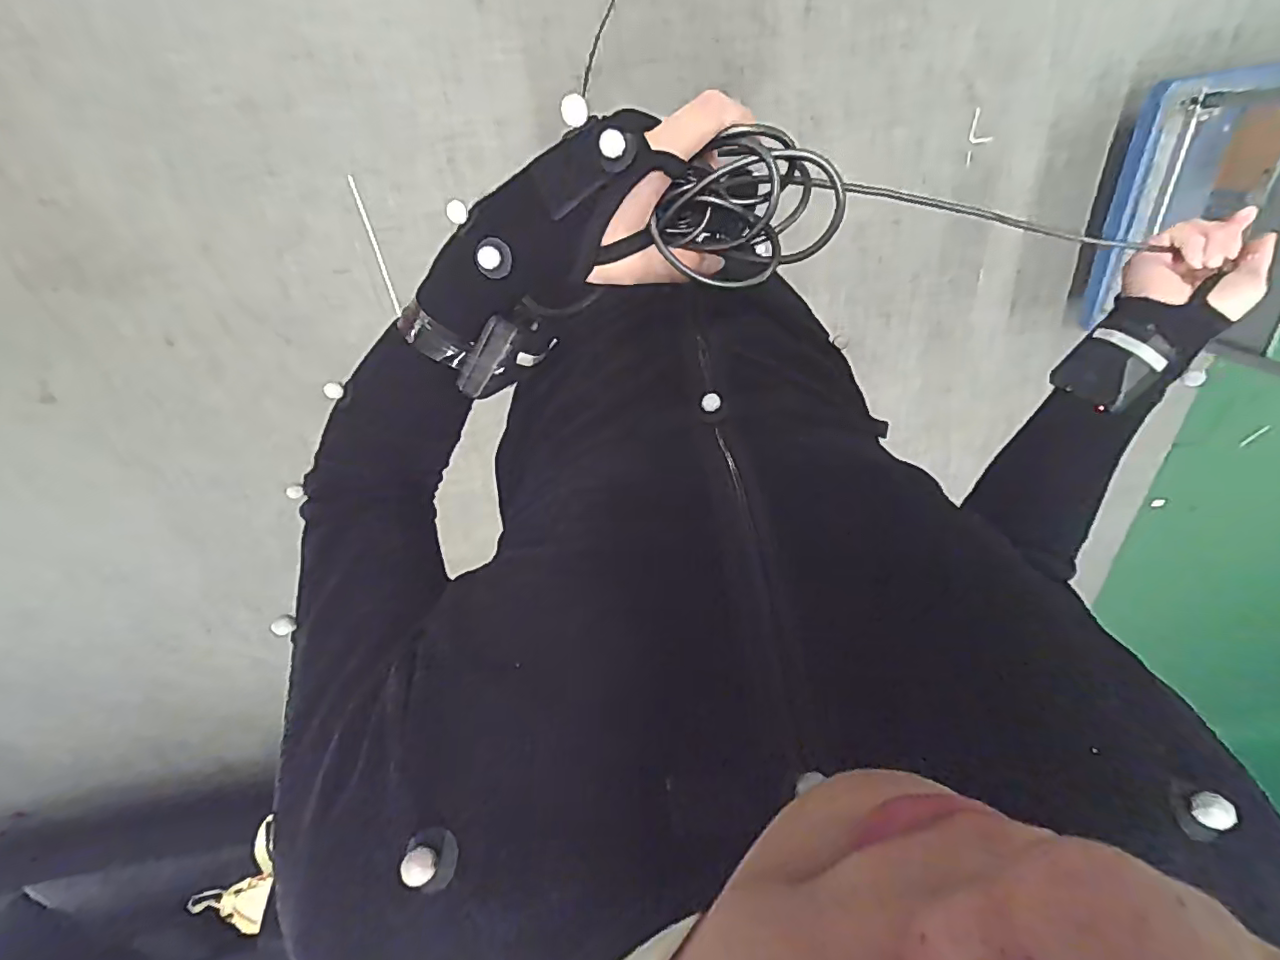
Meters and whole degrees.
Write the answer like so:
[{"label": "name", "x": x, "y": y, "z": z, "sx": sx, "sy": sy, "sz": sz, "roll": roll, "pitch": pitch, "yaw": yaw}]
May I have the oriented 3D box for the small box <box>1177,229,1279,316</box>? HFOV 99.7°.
[{"label": "small box", "x": 1.529, "y": -0.523, "z": 1.351, "sx": 0.179, "sy": 0.176, "sz": 0.168, "roll": -8, "pitch": 122, "yaw": -1}]
